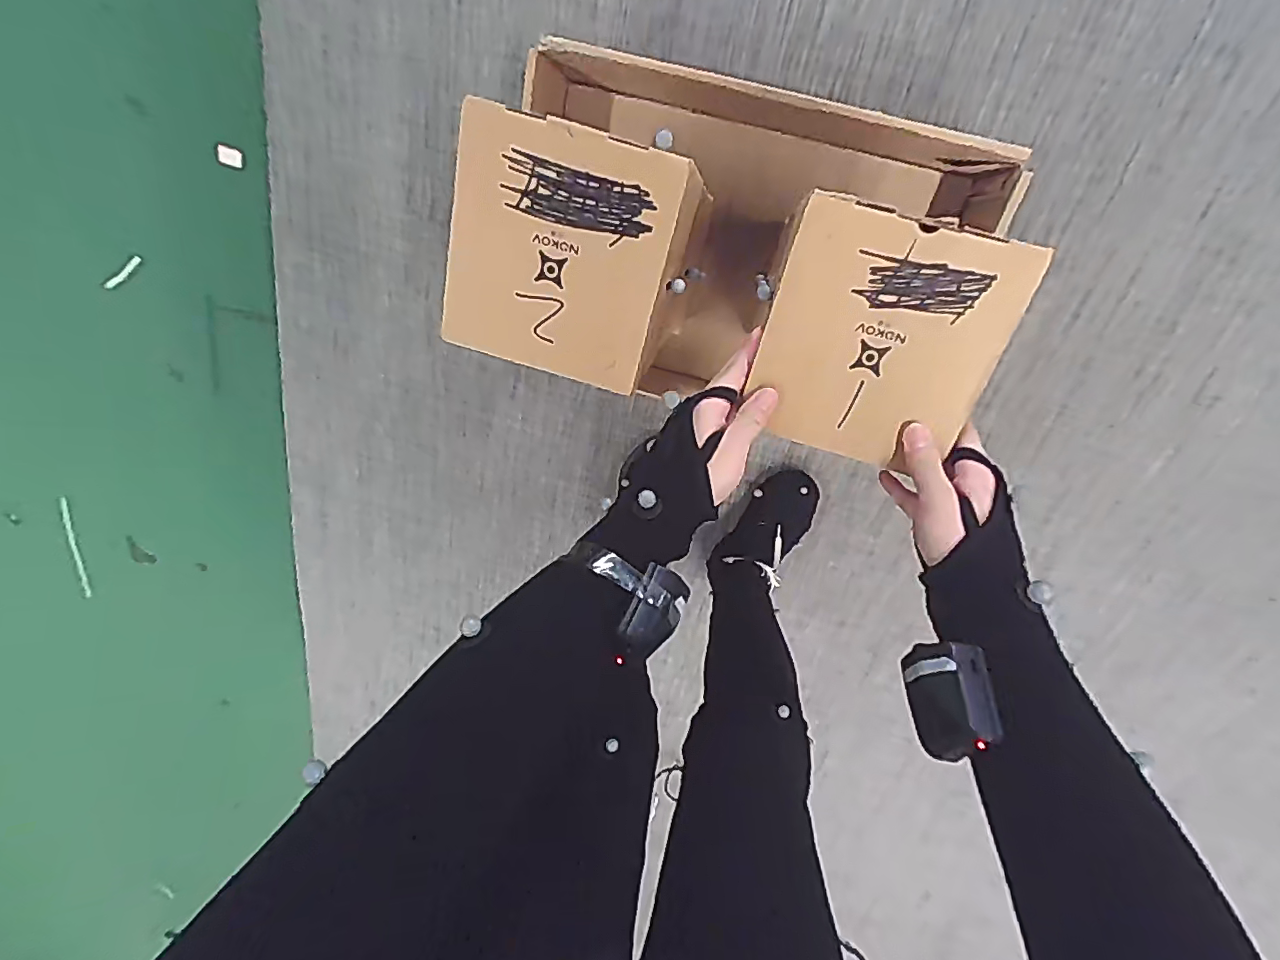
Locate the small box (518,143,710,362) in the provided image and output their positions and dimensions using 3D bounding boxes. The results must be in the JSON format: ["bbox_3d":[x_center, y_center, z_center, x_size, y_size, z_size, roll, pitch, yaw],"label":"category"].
[{"bbox_3d":[-0.022,-0.262,0.639,0.168,0.176,0.179,20,114,1],"label":"small box"}]

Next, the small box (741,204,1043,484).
[{"bbox_3d":[0.194,-0.126,0.482,0.168,0.176,0.179,18,116,4],"label":"small box"}]
